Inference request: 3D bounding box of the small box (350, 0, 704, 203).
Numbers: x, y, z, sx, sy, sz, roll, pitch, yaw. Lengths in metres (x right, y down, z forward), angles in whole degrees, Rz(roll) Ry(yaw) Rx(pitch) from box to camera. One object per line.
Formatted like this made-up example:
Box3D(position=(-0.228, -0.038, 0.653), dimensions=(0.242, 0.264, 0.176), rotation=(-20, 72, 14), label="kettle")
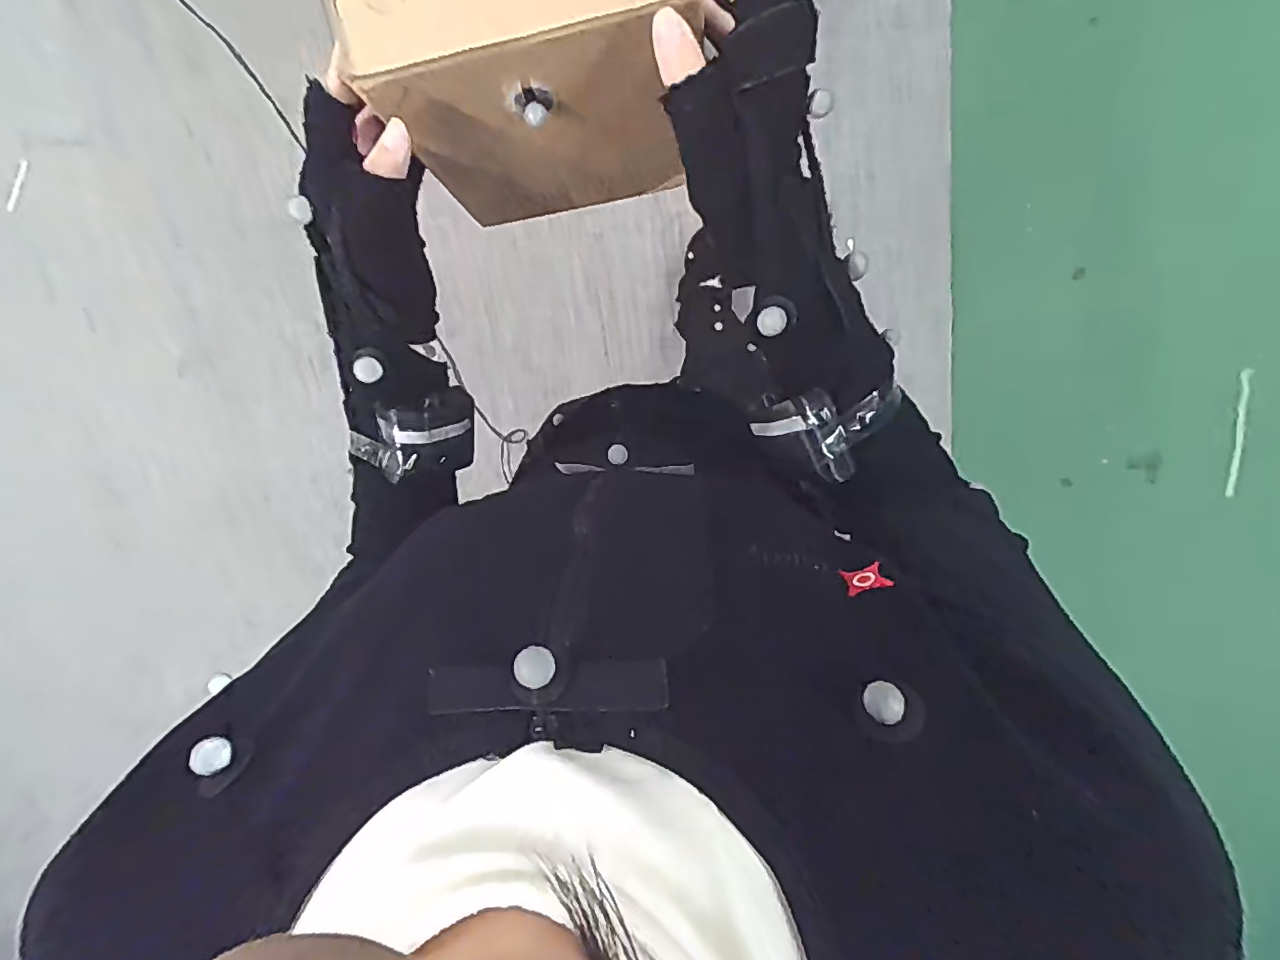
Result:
Box3D(position=(-0.056, -0.300, 0.335), dimensions=(0.179, 0.176, 0.168), rotation=(-9, 91, 6), label="small box")
